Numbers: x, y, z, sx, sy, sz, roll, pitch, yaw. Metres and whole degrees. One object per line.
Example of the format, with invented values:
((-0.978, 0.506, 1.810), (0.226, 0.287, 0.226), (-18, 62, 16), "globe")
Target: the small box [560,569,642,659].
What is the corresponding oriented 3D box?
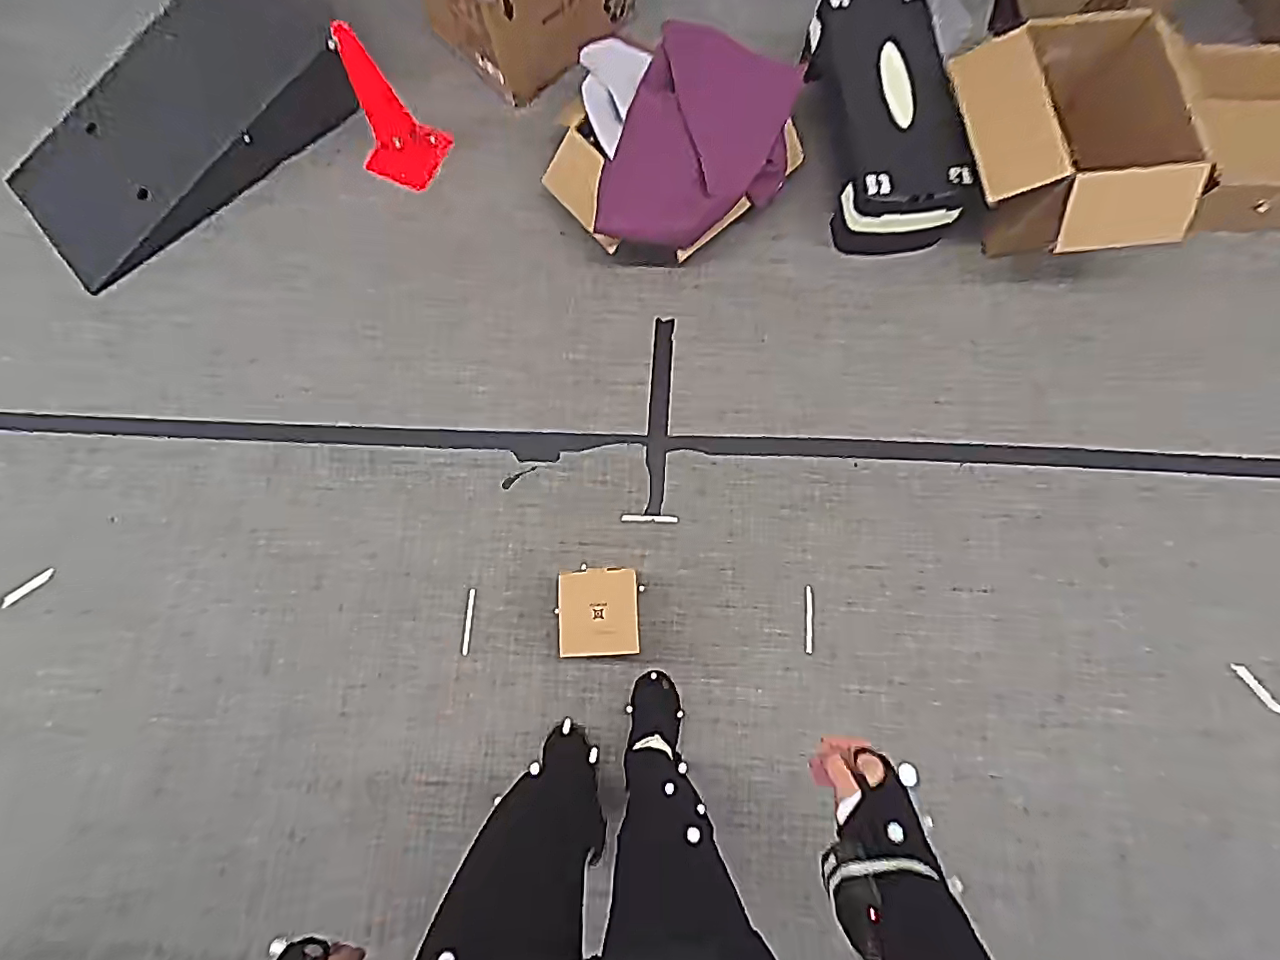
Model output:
((-0.083, 0.293, 1.197), (0.168, 0.176, 0.179), (-4, 79, 1), "small box")
